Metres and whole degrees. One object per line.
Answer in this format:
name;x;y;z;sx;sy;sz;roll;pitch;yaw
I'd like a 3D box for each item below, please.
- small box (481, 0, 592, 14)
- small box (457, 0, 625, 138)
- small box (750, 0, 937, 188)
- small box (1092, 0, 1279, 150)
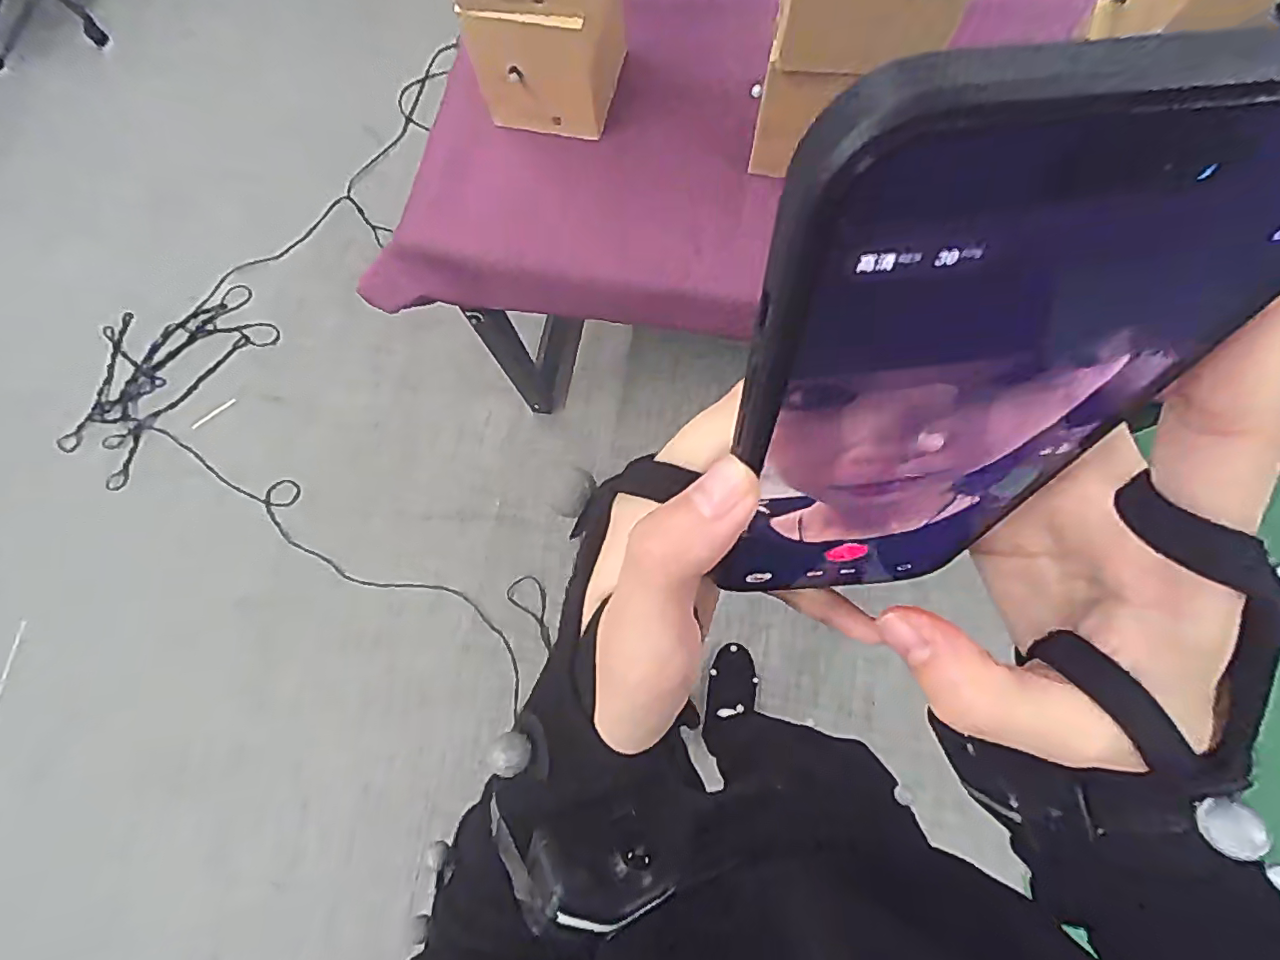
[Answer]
small box;-0.129;-0.661;0.591;0.168;0.176;0.179;8;78;4
small box;-0.122;-0.616;0.749;0.168;0.176;0.179;13;78;6
small box;0.253;-0.514;0.702;0.179;0.176;0.168;12;78;6
small box;0.576;-0.449;0.502;0.179;0.176;0.168;18;78;7
